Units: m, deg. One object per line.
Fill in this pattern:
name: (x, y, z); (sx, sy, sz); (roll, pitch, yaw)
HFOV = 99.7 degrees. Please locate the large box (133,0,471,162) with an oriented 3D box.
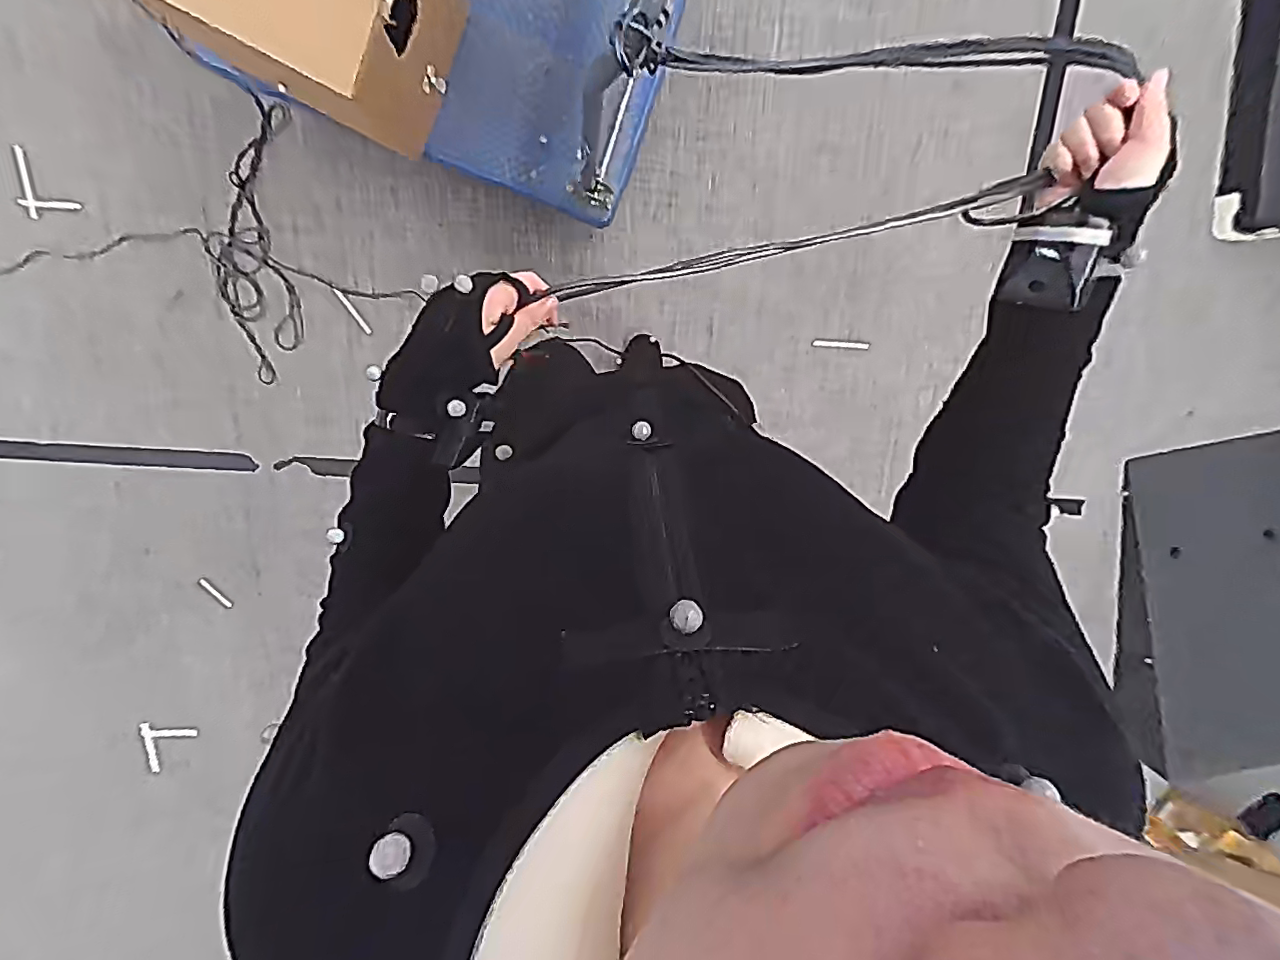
large box: (-0.561, -0.828, 0.919); (0.408, 0.320, 0.320); (25, 101, -8)
